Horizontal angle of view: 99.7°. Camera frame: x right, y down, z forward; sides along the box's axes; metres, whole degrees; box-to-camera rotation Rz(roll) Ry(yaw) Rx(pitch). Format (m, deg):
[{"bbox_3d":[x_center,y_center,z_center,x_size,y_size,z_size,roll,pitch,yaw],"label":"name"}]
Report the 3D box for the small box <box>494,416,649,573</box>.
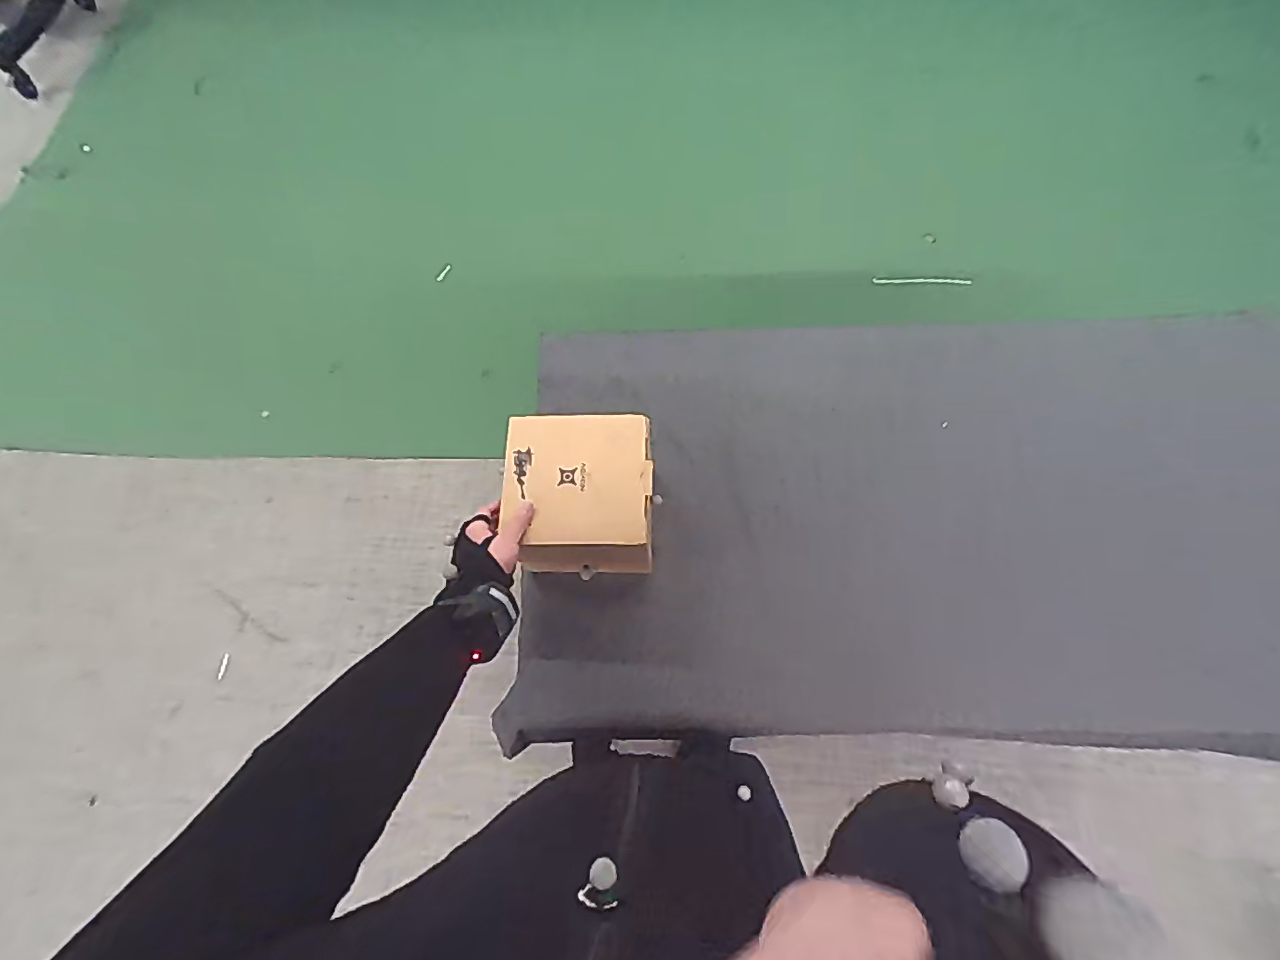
[{"bbox_3d":[-0.077,0.027,0.714,0.179,0.176,0.168,0,70,2],"label":"small box"}]
